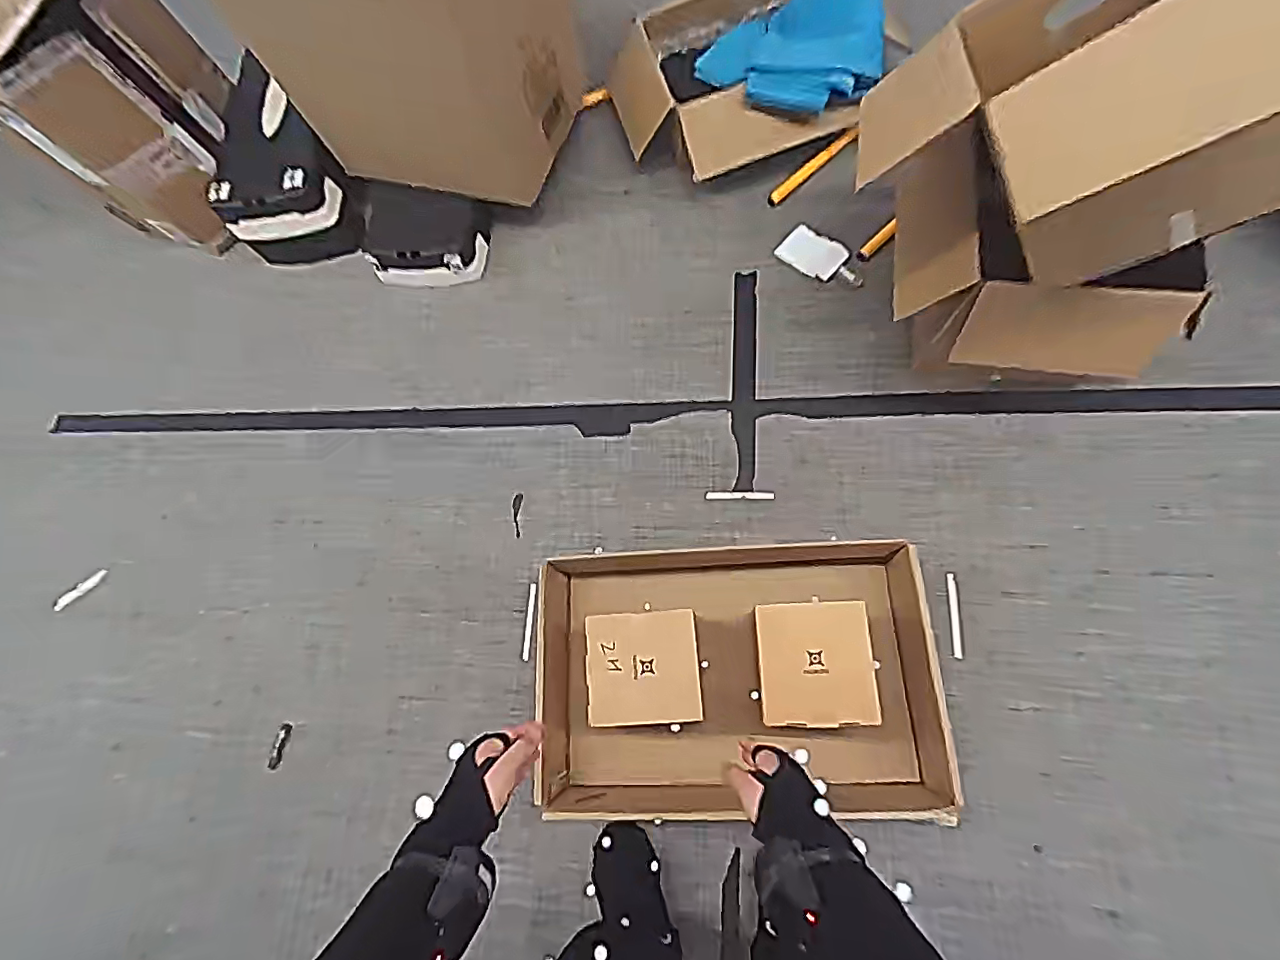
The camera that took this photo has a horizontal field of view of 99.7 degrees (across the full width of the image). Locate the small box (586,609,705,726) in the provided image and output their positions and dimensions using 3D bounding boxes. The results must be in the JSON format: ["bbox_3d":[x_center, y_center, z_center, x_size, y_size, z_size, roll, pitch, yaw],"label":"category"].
[{"bbox_3d":[0.014,0.308,0.901,0.179,0.176,0.168,-6,72,5],"label":"small box"}]

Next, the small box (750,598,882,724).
[{"bbox_3d":[0.271,0.289,0.872,0.168,0.176,0.179,-4,73,8],"label":"small box"}]
